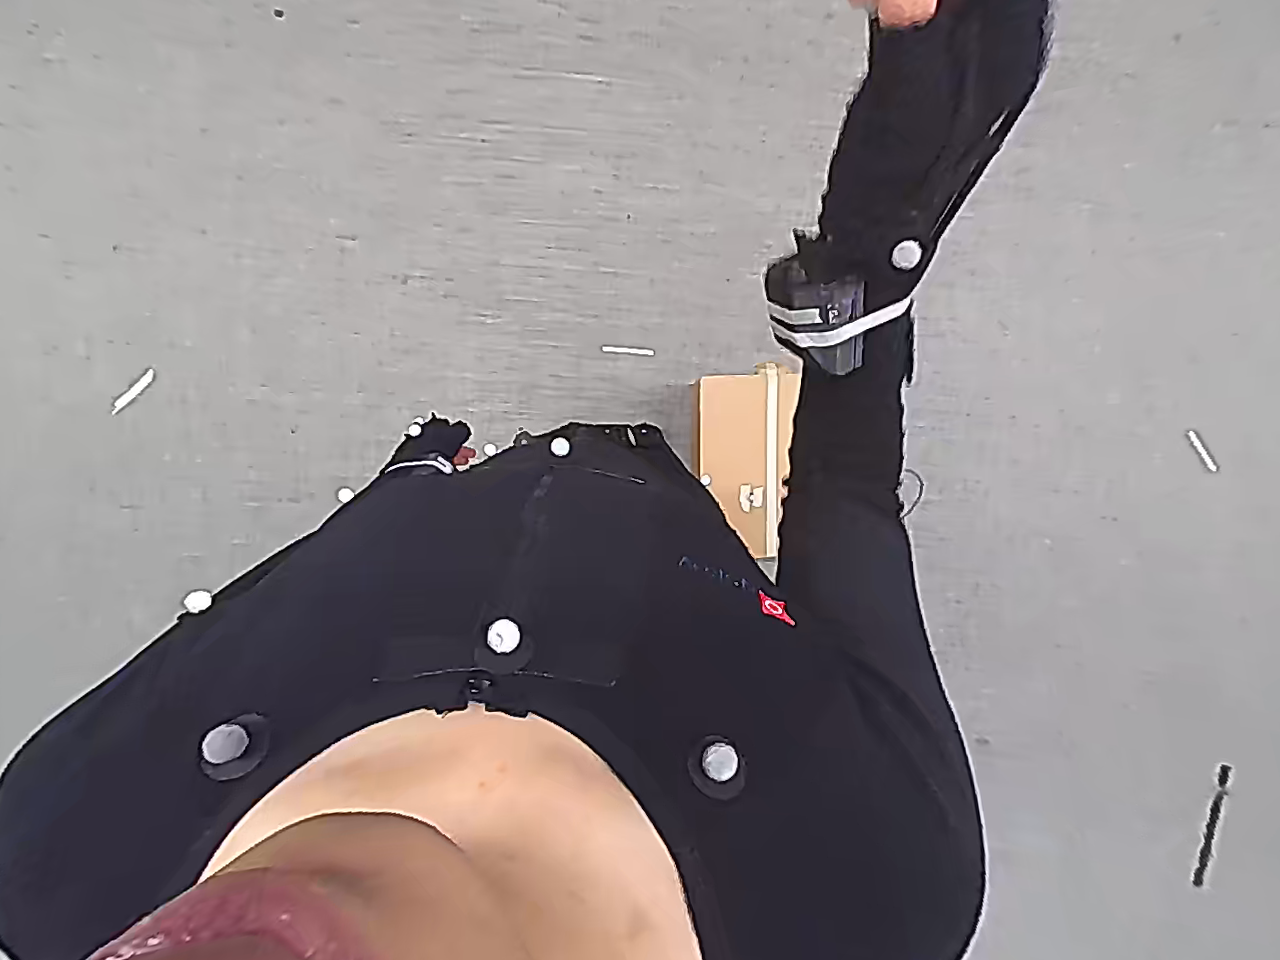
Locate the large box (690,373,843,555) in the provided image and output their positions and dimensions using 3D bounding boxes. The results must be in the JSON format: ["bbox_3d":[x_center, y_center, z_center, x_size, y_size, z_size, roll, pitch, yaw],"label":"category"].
[{"bbox_3d":[0.295,-0.052,1.350,0.320,0.320,0.408,-1,98,2],"label":"large box"}]
